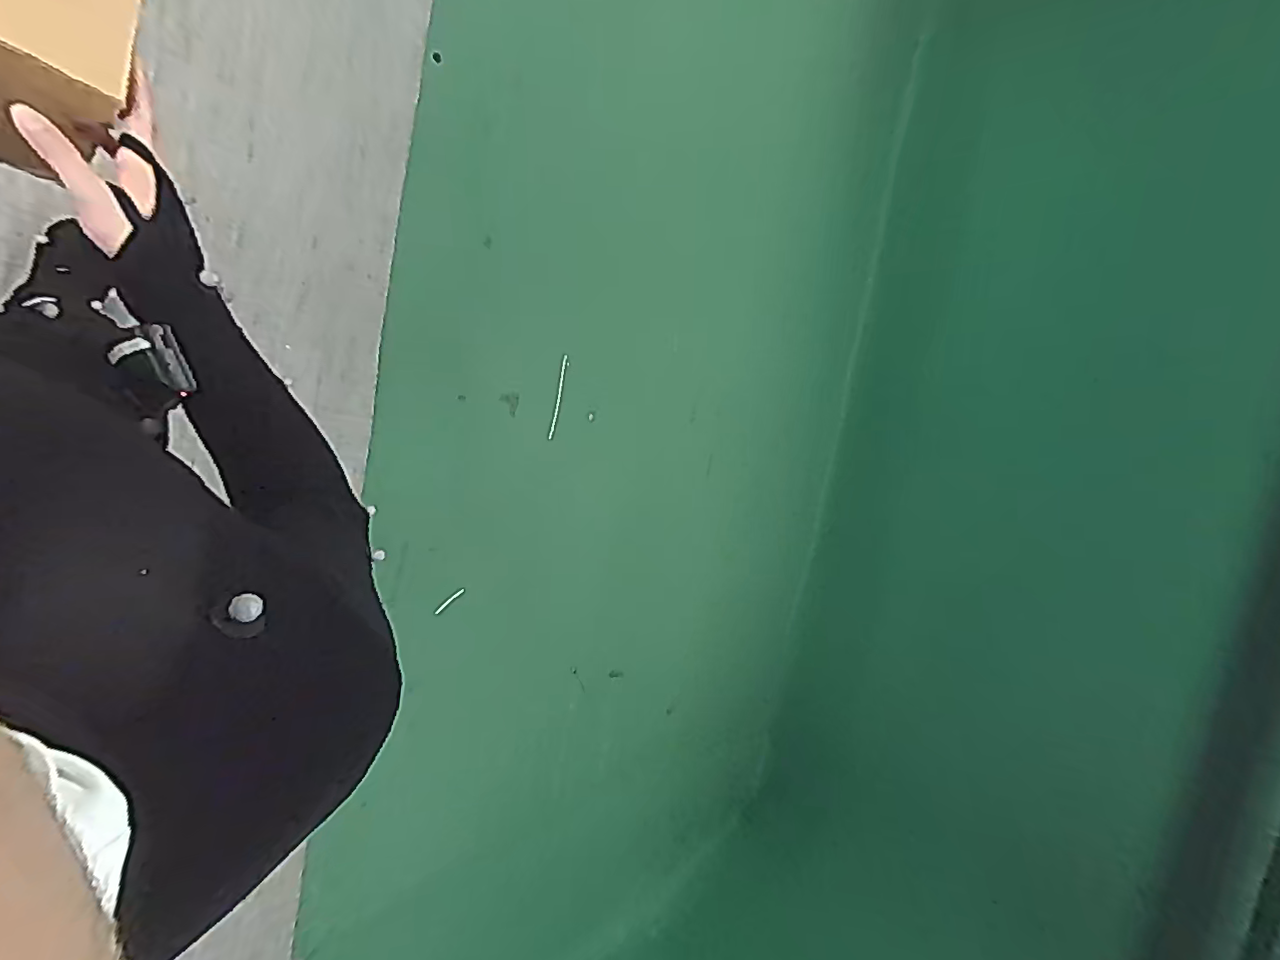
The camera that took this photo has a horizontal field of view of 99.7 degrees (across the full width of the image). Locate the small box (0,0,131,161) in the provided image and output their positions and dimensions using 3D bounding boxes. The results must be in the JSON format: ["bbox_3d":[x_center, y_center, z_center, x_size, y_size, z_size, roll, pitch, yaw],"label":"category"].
[{"bbox_3d":[-0.511,-0.382,0.399,0.179,0.176,0.168,13,72,-54],"label":"small box"}]
